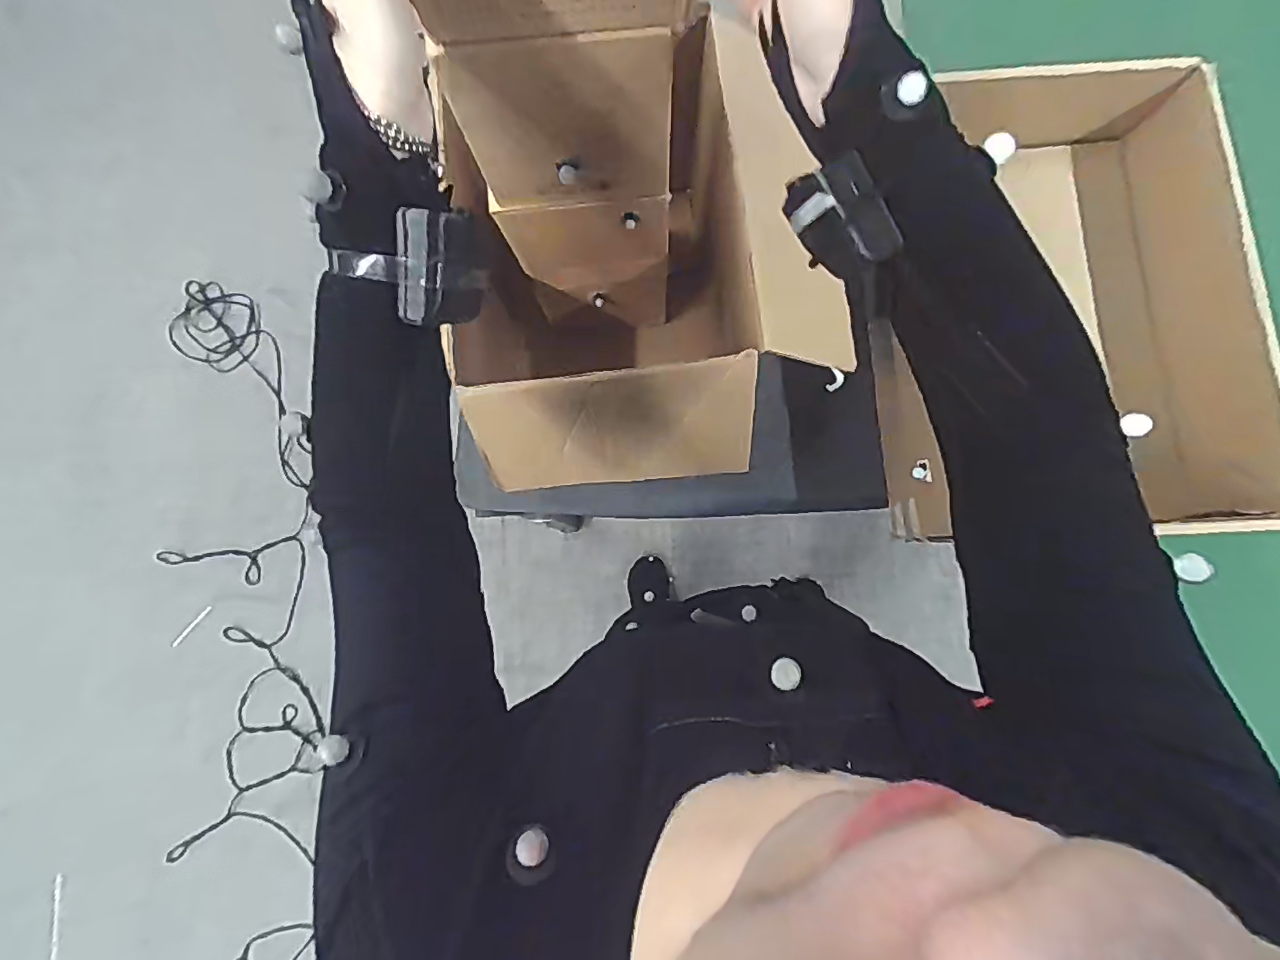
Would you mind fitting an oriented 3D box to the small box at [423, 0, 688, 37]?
[{"bbox_3d":[-0.058,-0.379,0.282,0.179,0.176,0.168,-4,85,2],"label":"small box"}]

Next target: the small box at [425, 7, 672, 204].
[{"bbox_3d":[-0.063,-0.362,0.446,0.168,0.176,0.179,-4,85,2],"label":"small box"}]
